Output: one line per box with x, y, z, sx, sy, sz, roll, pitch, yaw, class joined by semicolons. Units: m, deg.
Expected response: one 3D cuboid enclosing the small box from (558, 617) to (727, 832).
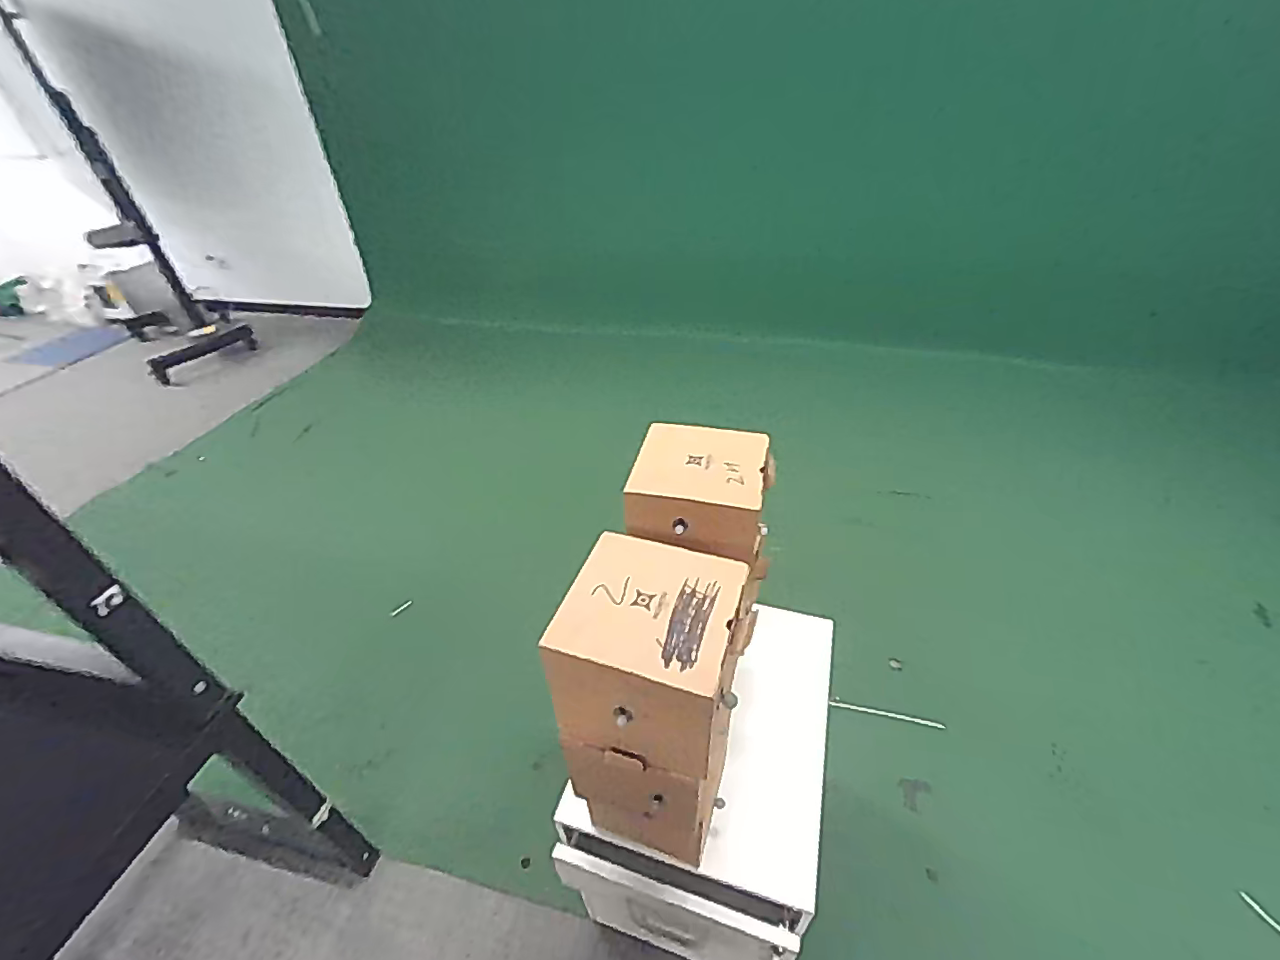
0.012;0.312;0.694;0.168;0.176;0.179;10;39;14;small box

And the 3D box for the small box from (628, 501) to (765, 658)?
0.092;0.162;0.880;0.179;0.176;0.168;13;41;17;small box

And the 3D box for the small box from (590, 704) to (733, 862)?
0.030;0.428;0.806;0.179;0.176;0.168;12;40;17;small box
